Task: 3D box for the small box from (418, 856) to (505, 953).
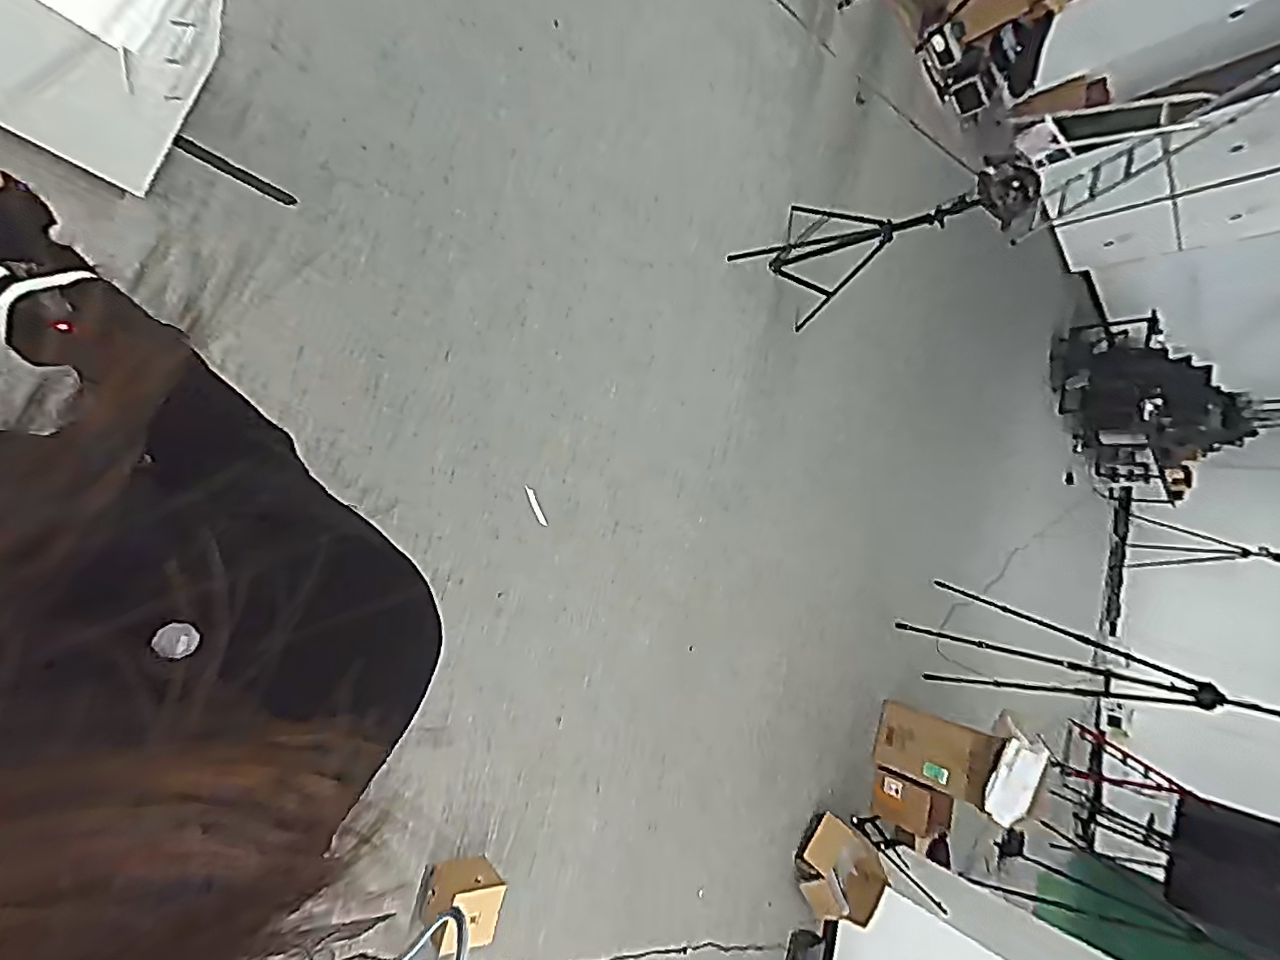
[{"bbox_3d":[-0.552,1.297,1.670,0.179,0.176,0.168,24,76,-39],"label":"small box"}]
